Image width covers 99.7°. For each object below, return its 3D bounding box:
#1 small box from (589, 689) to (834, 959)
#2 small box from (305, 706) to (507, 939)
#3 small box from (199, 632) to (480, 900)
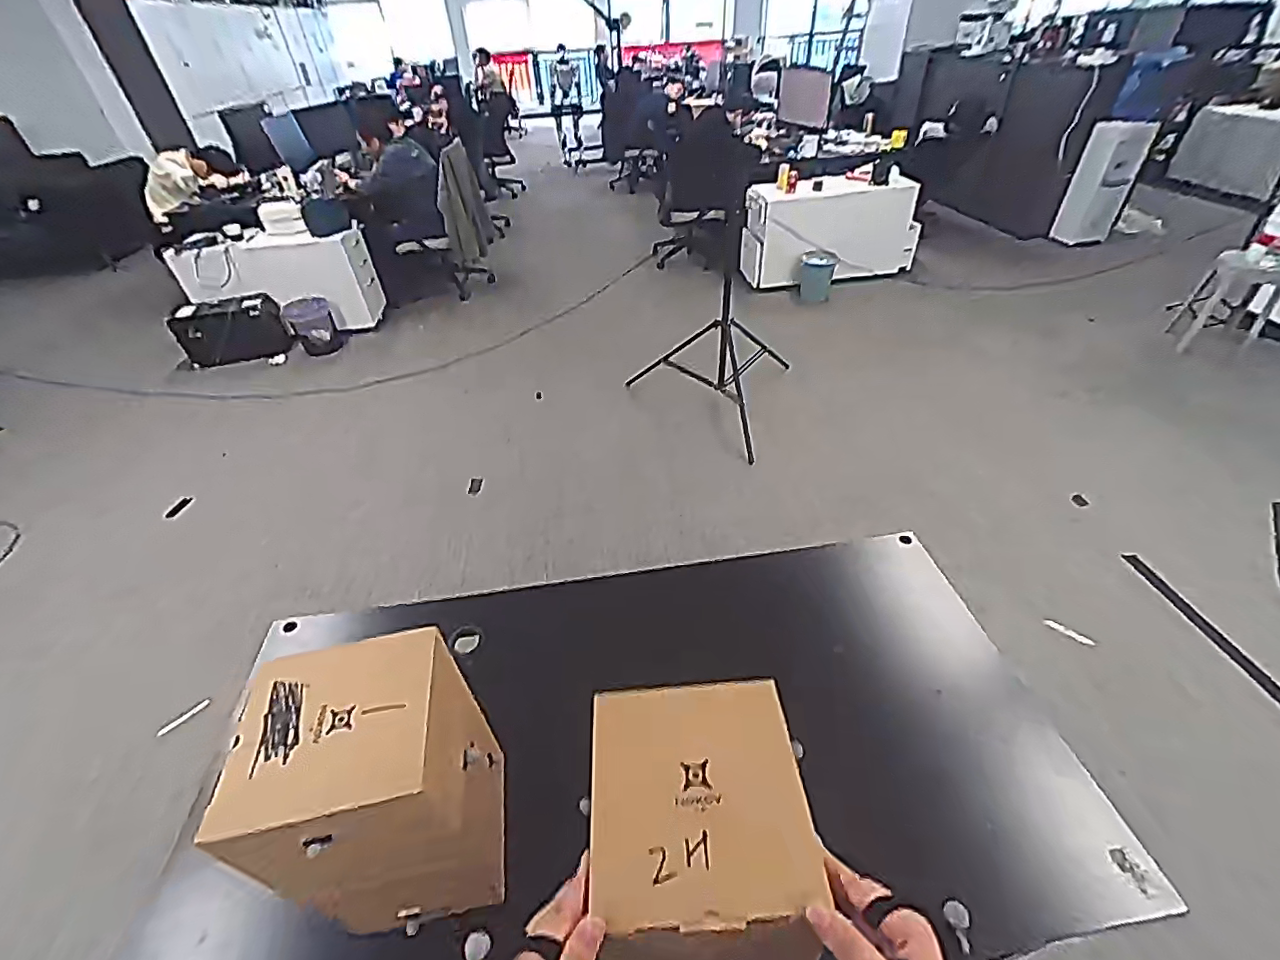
[{"bbox_3d":[0.050,0.312,0.469,0.168,0.176,0.179,-6,34,1],"label":"small box"},{"bbox_3d":[-0.261,0.408,0.650,0.168,0.176,0.179,-11,42,-7],"label":"small box"},{"bbox_3d":[-0.271,0.285,0.541,0.179,0.176,0.168,-10,40,-7],"label":"small box"}]
